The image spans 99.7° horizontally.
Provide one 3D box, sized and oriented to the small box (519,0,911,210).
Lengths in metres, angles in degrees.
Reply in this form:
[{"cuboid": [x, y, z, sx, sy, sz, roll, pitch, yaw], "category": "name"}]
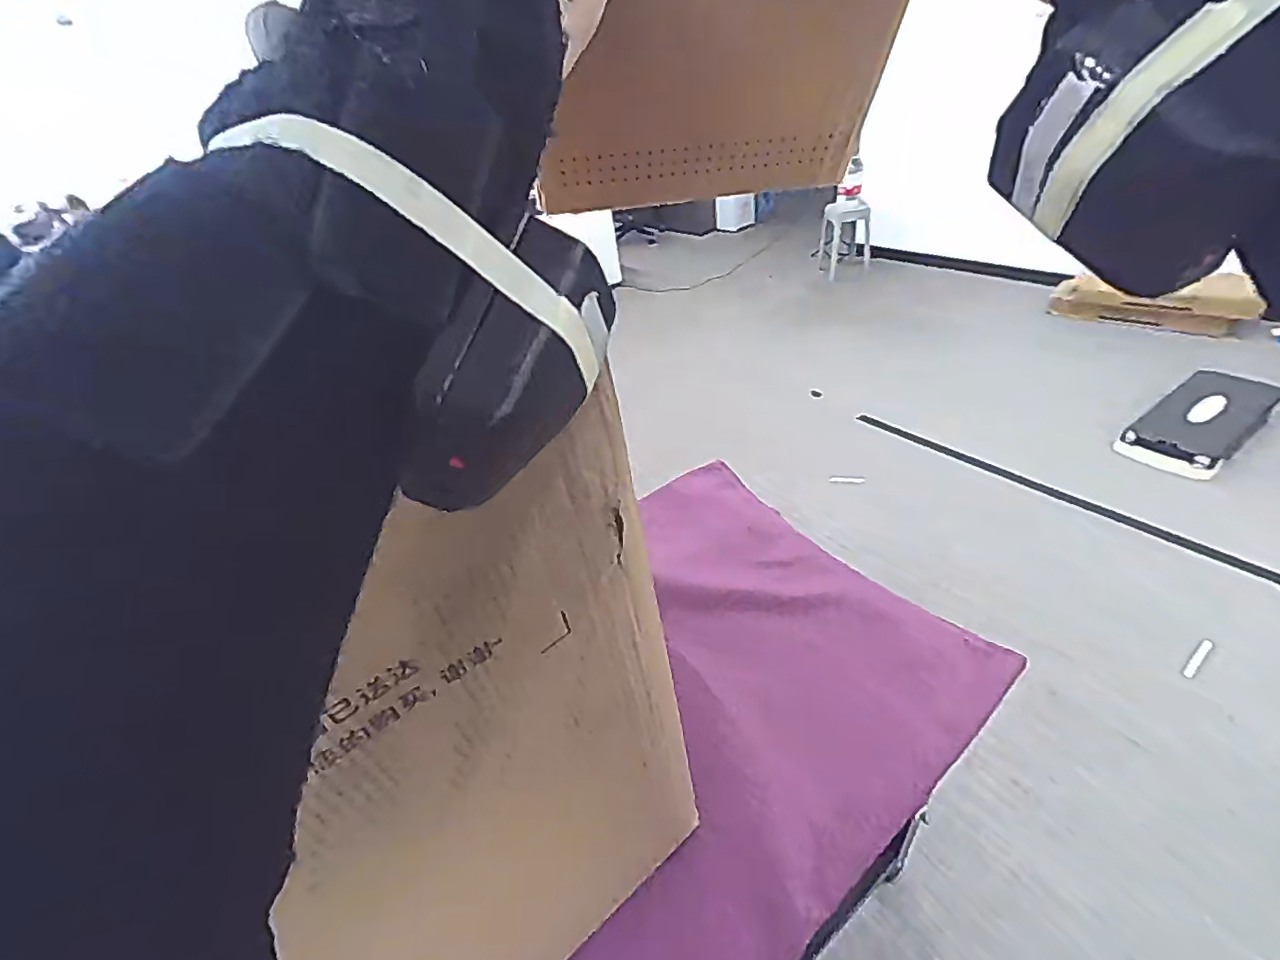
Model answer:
[{"cuboid": [0.026, -0.265, 0.270, 0.179, 0.176, 0.168, -9, 63, -4], "category": "small box"}]
